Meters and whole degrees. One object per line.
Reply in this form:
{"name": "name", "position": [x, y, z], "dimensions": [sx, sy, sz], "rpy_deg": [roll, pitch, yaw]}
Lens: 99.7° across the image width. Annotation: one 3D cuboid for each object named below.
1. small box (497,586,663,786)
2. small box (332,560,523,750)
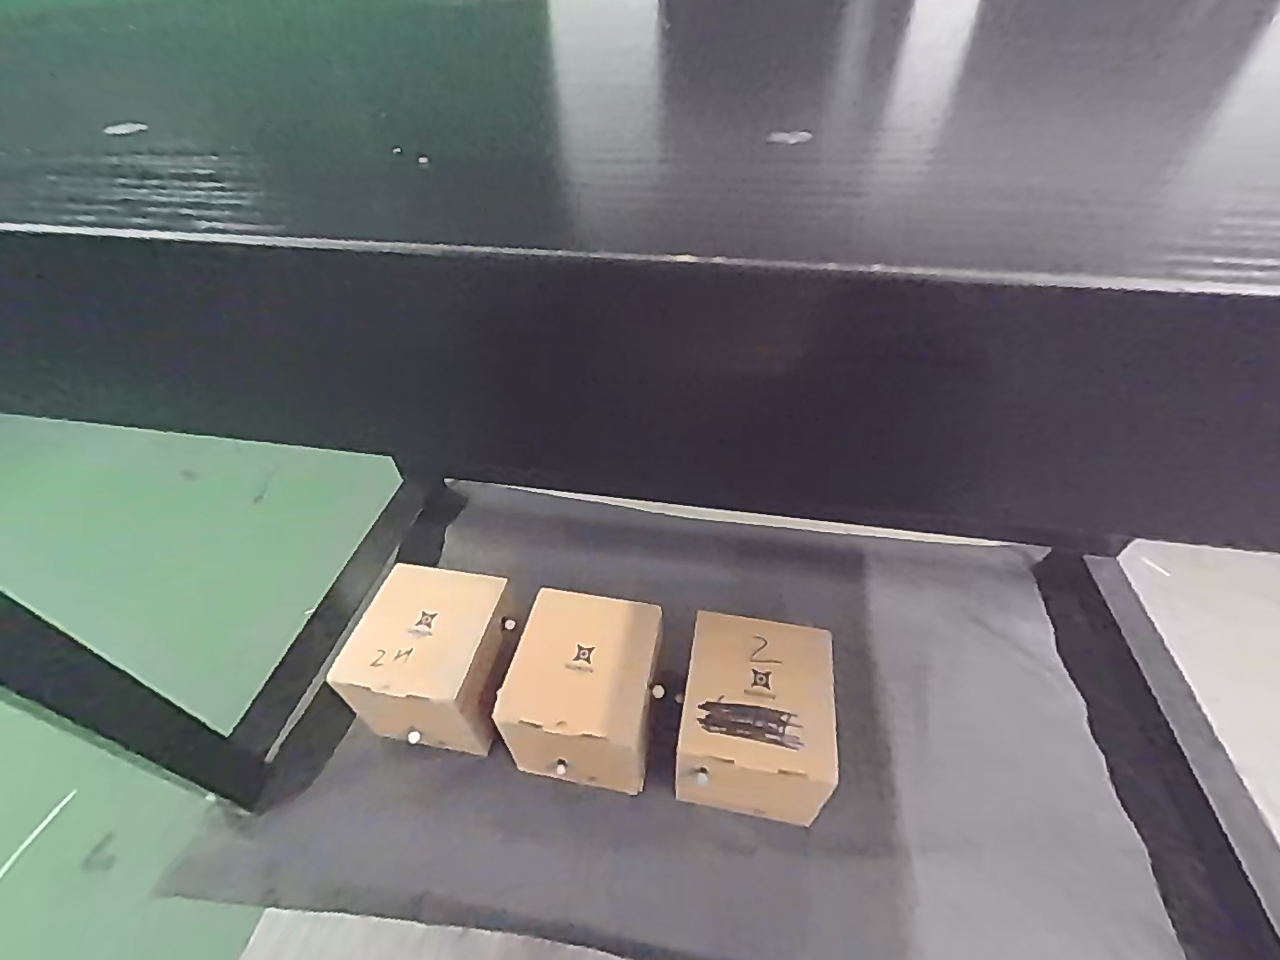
{"name": "small box", "position": [-0.066, 0.268, 0.707], "dimensions": [0.168, 0.176, 0.179], "rpy_deg": [7, 46, 8]}
{"name": "small box", "position": [-0.270, 0.238, 0.739], "dimensions": [0.168, 0.176, 0.179], "rpy_deg": [7, 45, 8]}
